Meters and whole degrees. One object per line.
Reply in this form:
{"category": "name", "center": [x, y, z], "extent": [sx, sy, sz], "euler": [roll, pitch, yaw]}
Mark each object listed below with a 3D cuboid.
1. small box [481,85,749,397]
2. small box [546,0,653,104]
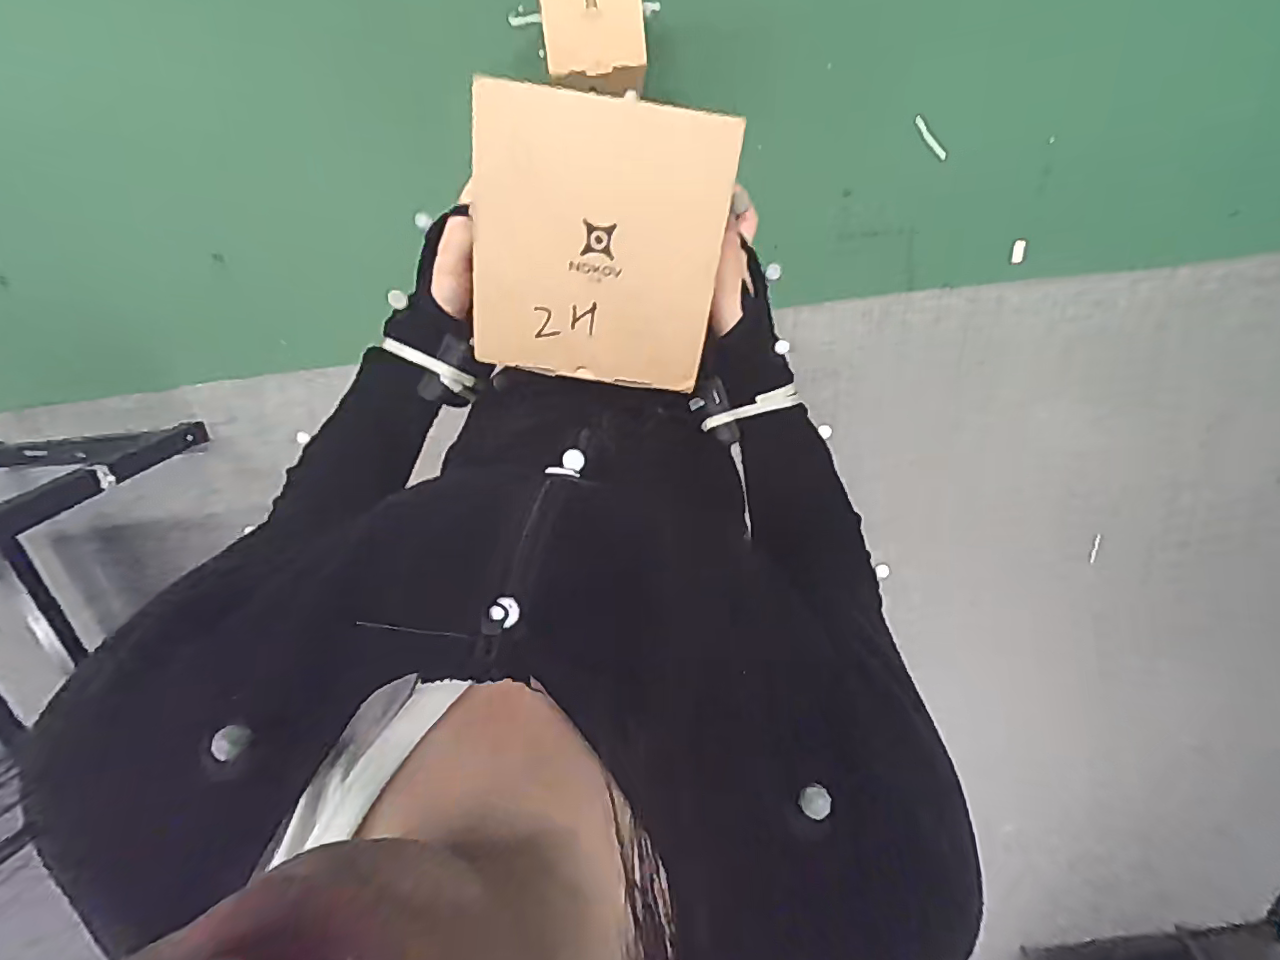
{"category": "small box", "center": [-0.021, -0.186, 0.438], "extent": [0.168, 0.176, 0.179], "euler": [9, 118, 0]}
{"category": "small box", "center": [-0.072, -0.784, 0.950], "extent": [0.168, 0.176, 0.179], "euler": [-8, 113, 0]}
